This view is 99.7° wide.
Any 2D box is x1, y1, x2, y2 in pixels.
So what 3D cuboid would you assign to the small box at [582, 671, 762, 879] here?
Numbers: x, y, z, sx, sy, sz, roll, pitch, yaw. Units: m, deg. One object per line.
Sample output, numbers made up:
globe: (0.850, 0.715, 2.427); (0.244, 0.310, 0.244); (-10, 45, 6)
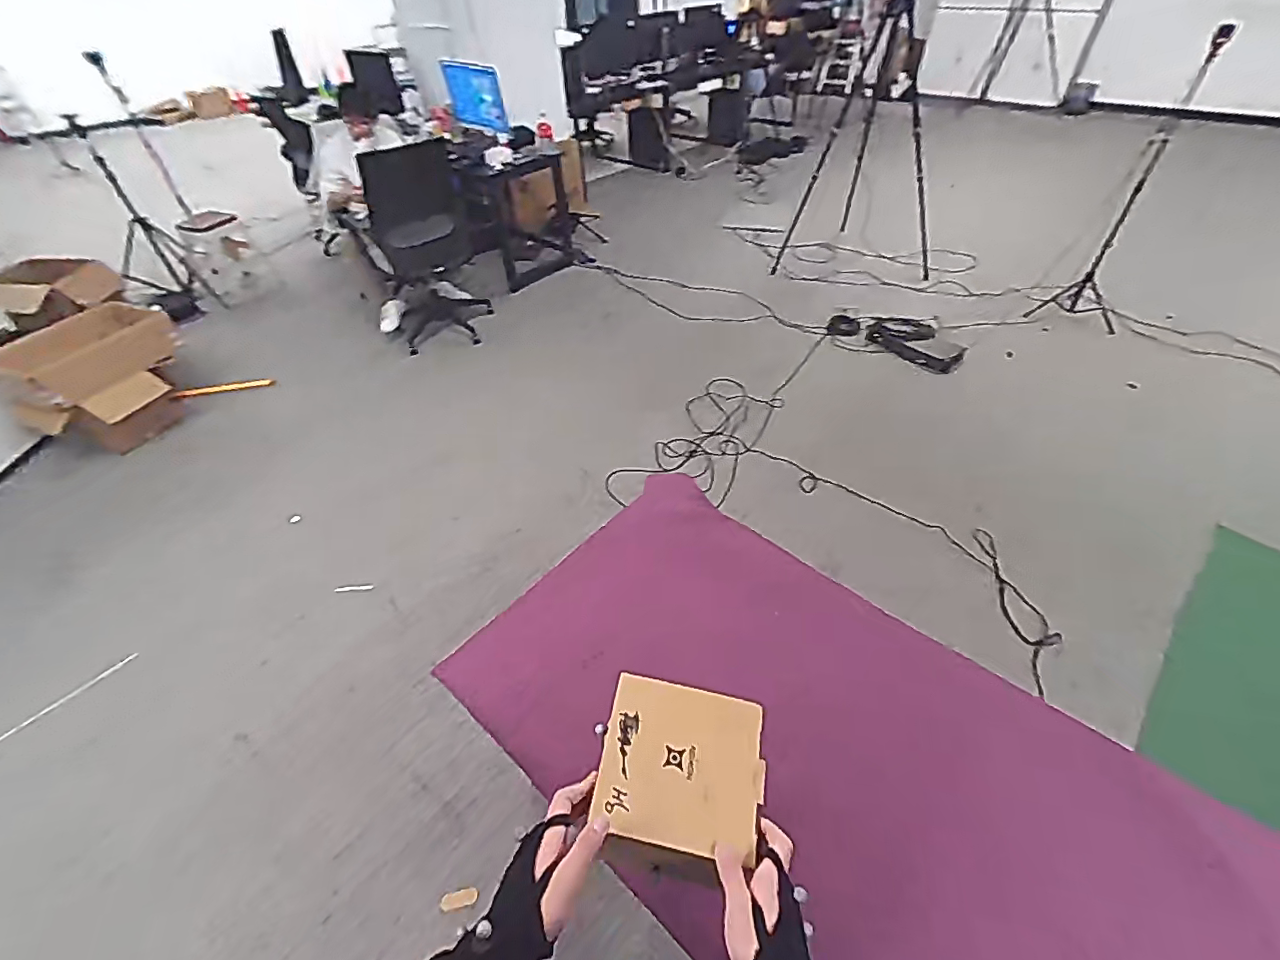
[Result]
small box: (0.036, 0.360, 0.653); (0.179, 0.176, 0.168); (12, 47, 3)
